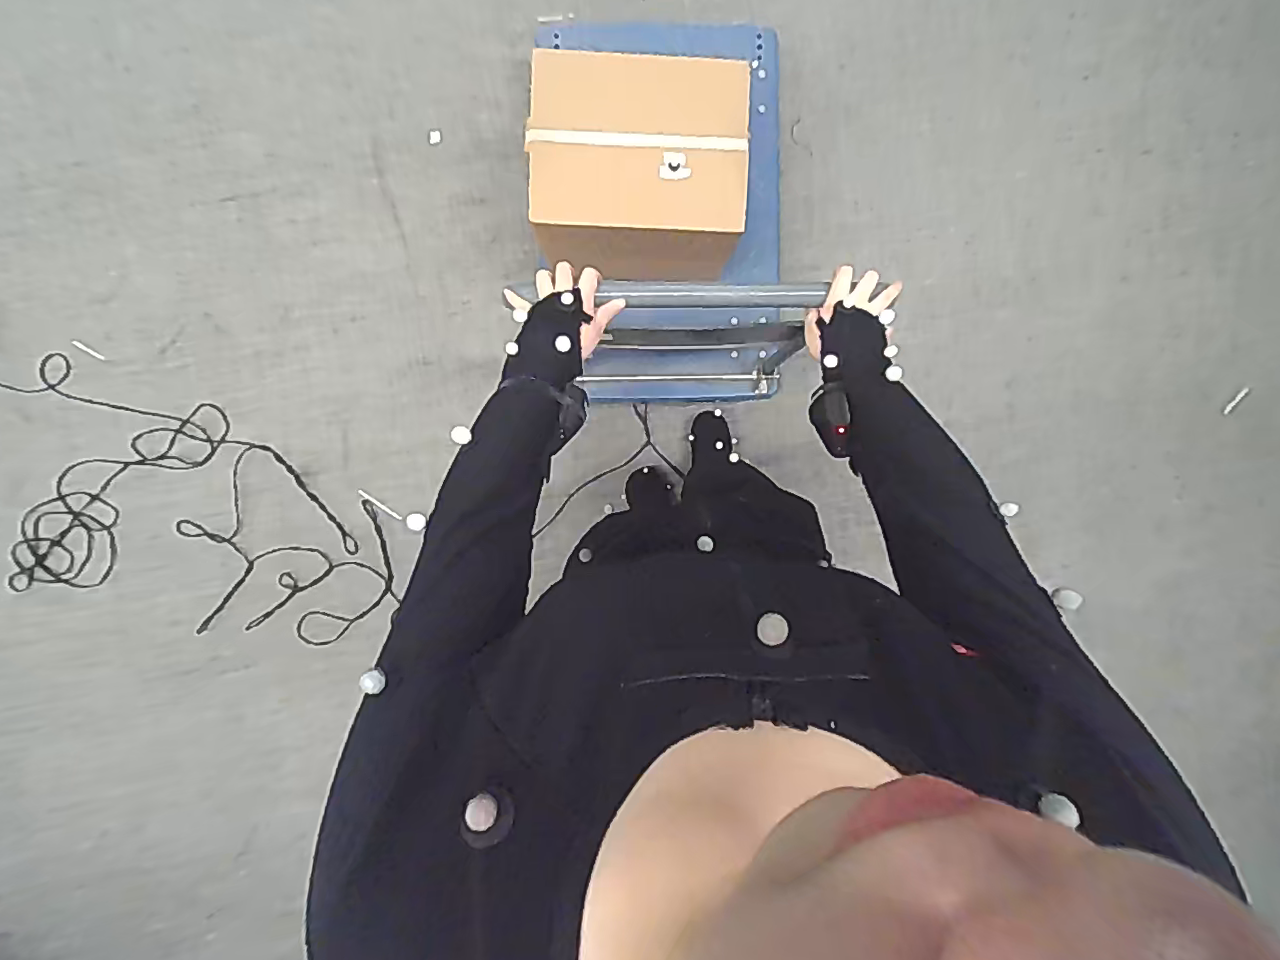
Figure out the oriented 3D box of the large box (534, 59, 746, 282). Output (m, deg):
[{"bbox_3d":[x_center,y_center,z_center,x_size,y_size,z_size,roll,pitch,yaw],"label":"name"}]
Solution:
[{"bbox_3d":[-0.007,-0.633,1.166,0.408,0.320,0.320,2,92,-3],"label":"large box"}]
